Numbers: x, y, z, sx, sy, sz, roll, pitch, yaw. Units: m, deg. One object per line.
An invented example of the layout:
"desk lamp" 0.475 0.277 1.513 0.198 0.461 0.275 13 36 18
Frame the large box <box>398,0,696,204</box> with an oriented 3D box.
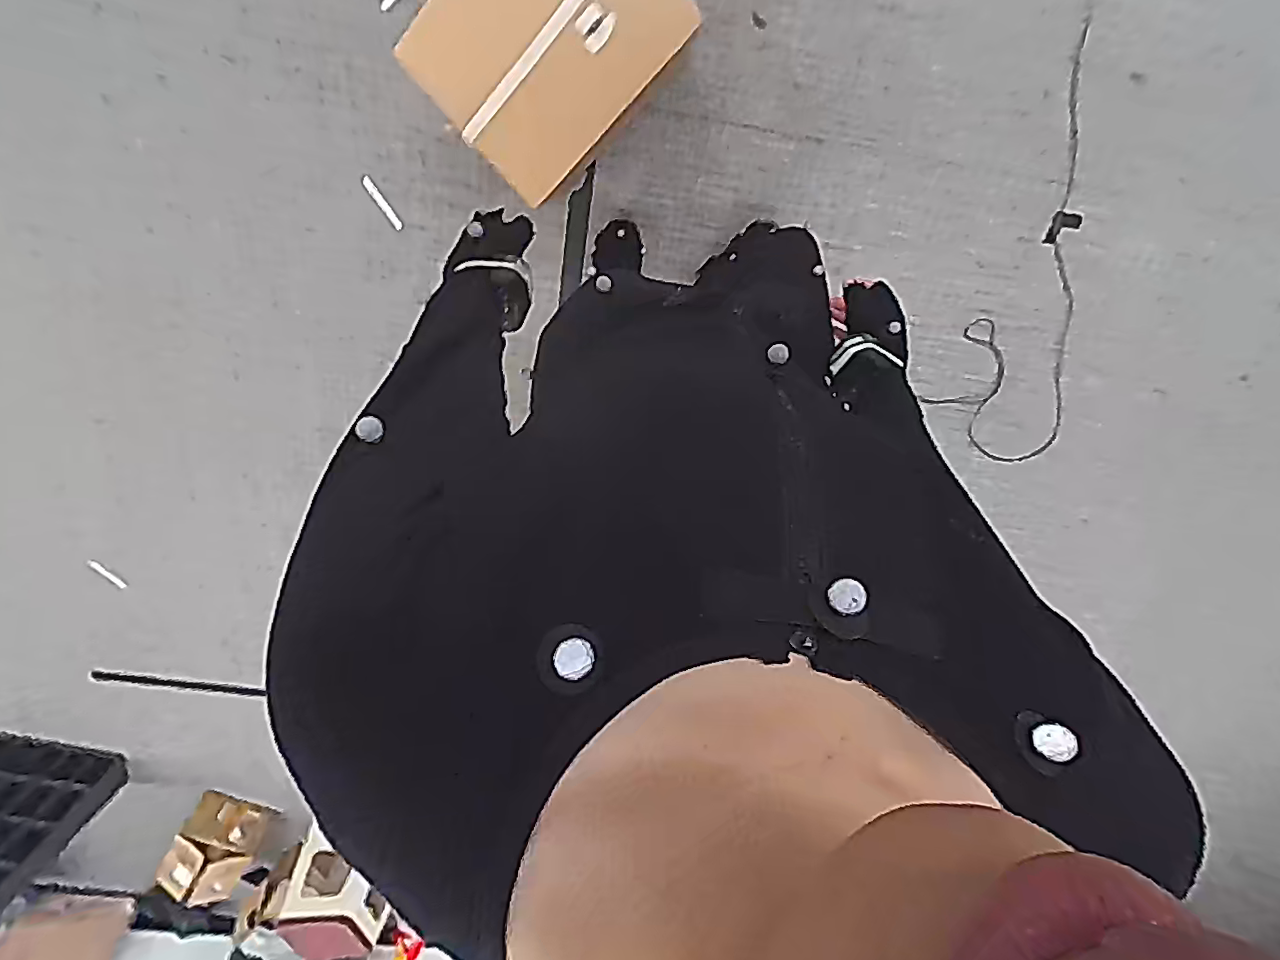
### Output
"large box" -0.156 -0.787 1.002 0.408 0.320 0.320 -39 113 19
